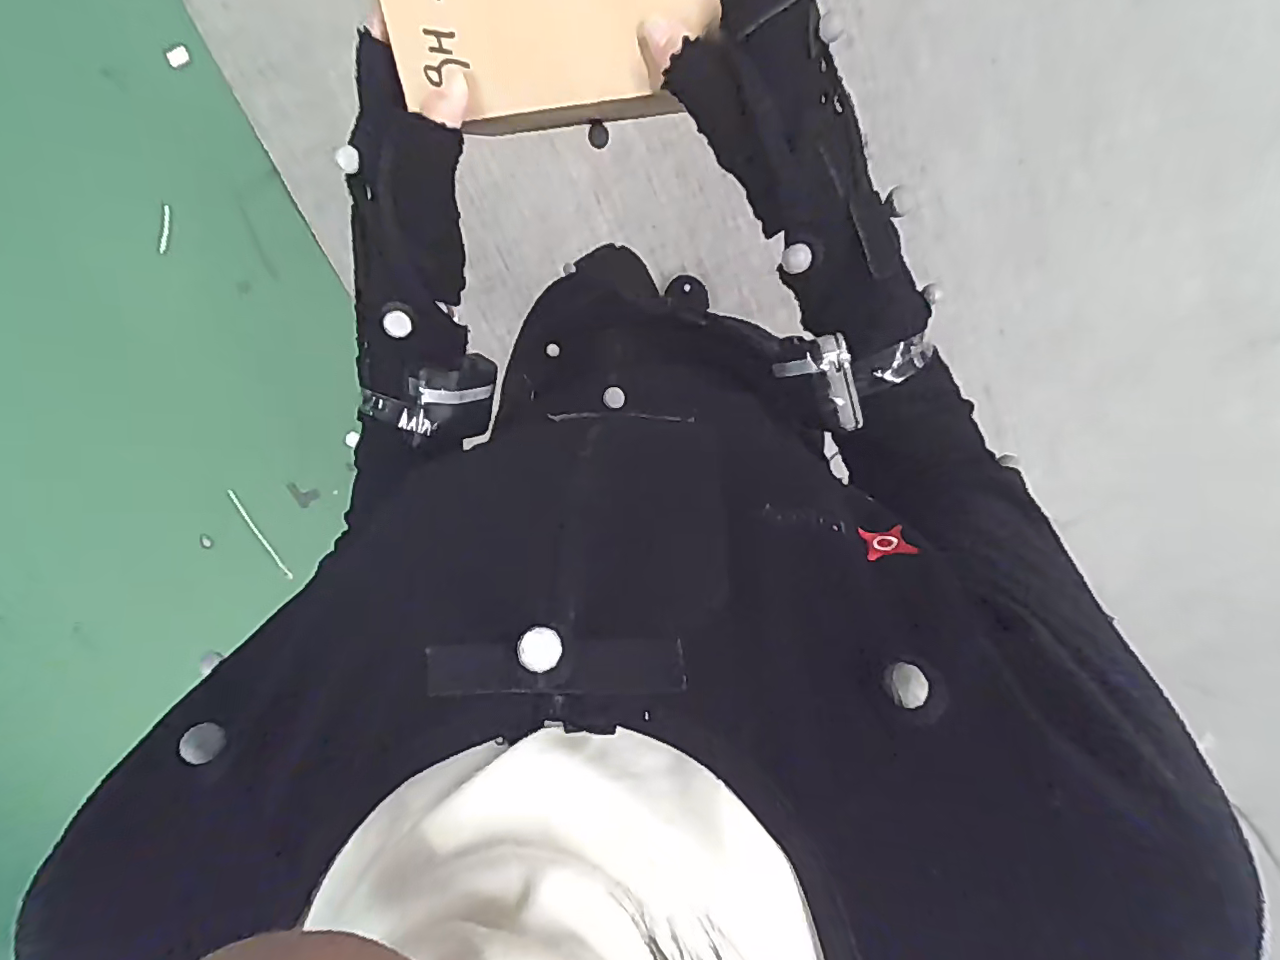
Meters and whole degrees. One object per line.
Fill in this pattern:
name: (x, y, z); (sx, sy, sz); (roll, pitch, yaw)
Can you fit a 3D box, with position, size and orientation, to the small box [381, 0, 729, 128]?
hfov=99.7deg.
small box: (-0.046, -0.316, 0.318); (0.179, 0.176, 0.168); (-4, 120, 4)
